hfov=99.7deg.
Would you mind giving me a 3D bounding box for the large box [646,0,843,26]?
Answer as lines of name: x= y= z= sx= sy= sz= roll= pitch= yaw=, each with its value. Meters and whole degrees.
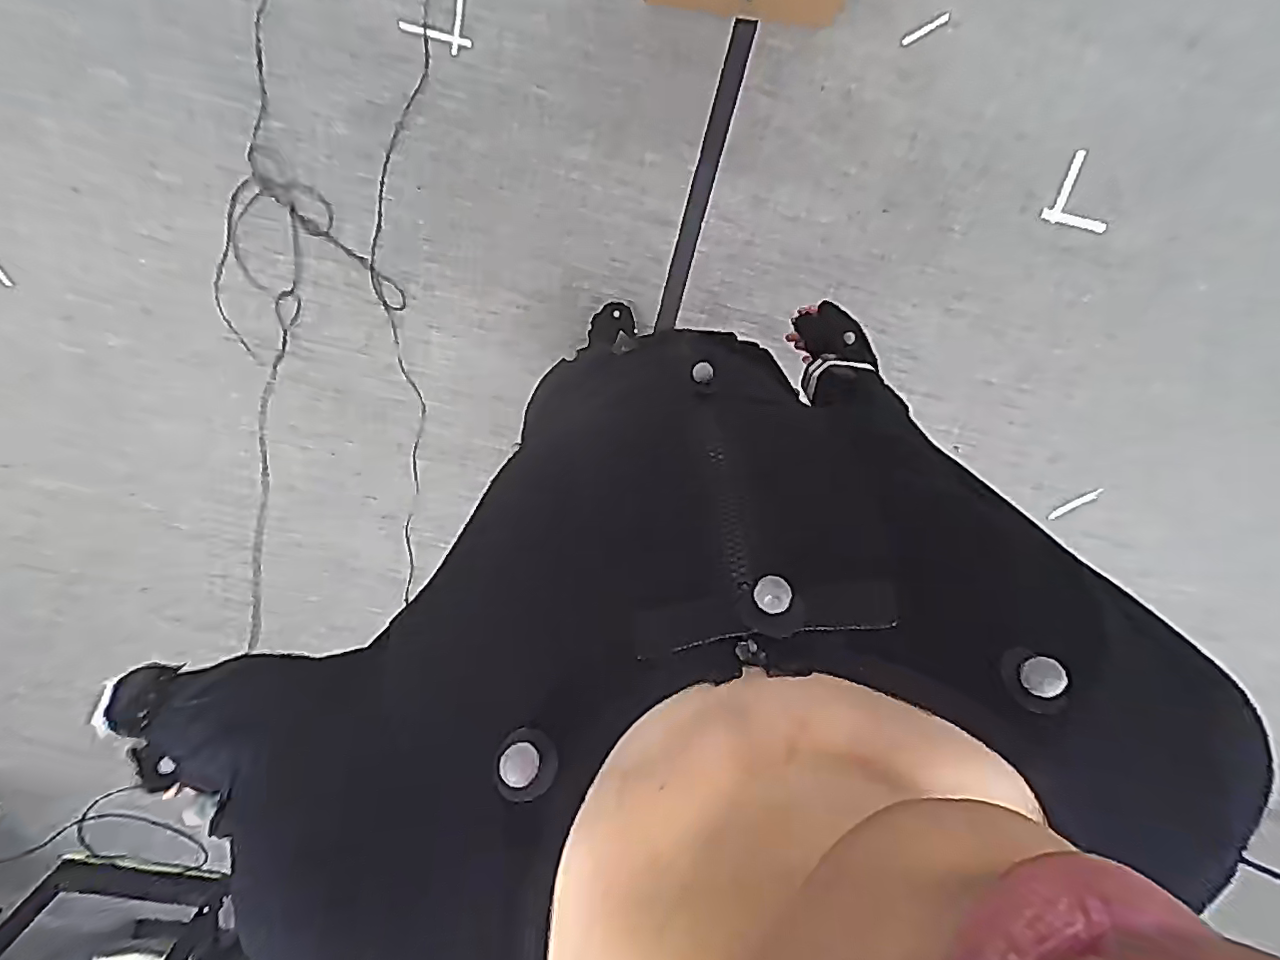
large box: x=0.226 y=-1.105 z=0.996 sx=0.408 sy=0.320 sz=0.320 roll=5 pitch=109 yaw=-3
